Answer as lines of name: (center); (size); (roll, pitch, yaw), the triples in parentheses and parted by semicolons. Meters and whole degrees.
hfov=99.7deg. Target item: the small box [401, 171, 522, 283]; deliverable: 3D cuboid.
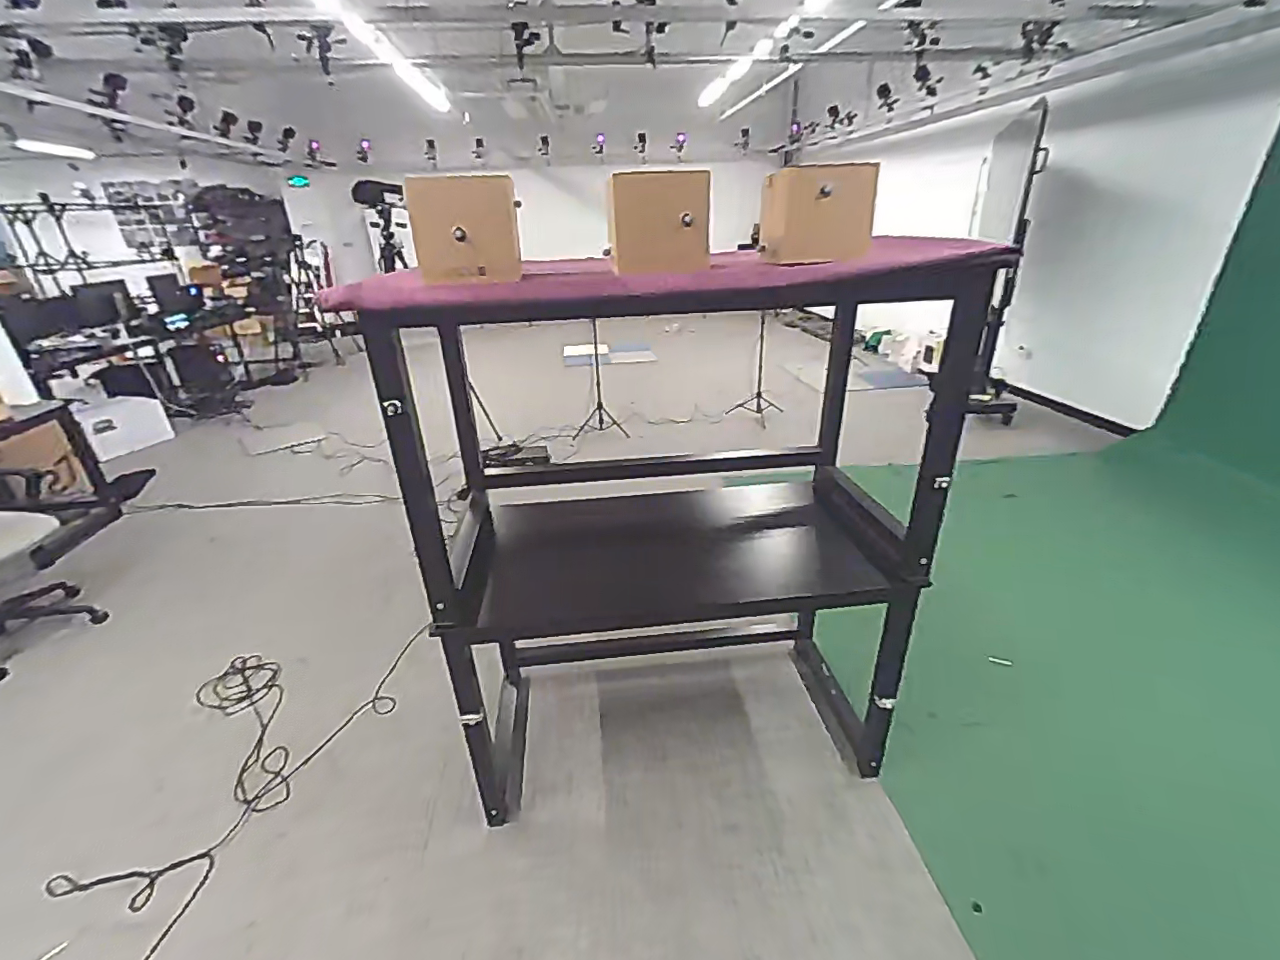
small box: (-0.304, -0.447, 0.964); (0.168, 0.176, 0.179); (-5, 26, -7)

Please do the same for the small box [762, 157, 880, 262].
small box: (0.348, -0.527, 1.072); (0.179, 0.176, 0.168); (-4, 24, -3)

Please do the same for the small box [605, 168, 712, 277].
small box: (0.031, -0.486, 1.023); (0.179, 0.176, 0.168); (-6, 26, -6)
